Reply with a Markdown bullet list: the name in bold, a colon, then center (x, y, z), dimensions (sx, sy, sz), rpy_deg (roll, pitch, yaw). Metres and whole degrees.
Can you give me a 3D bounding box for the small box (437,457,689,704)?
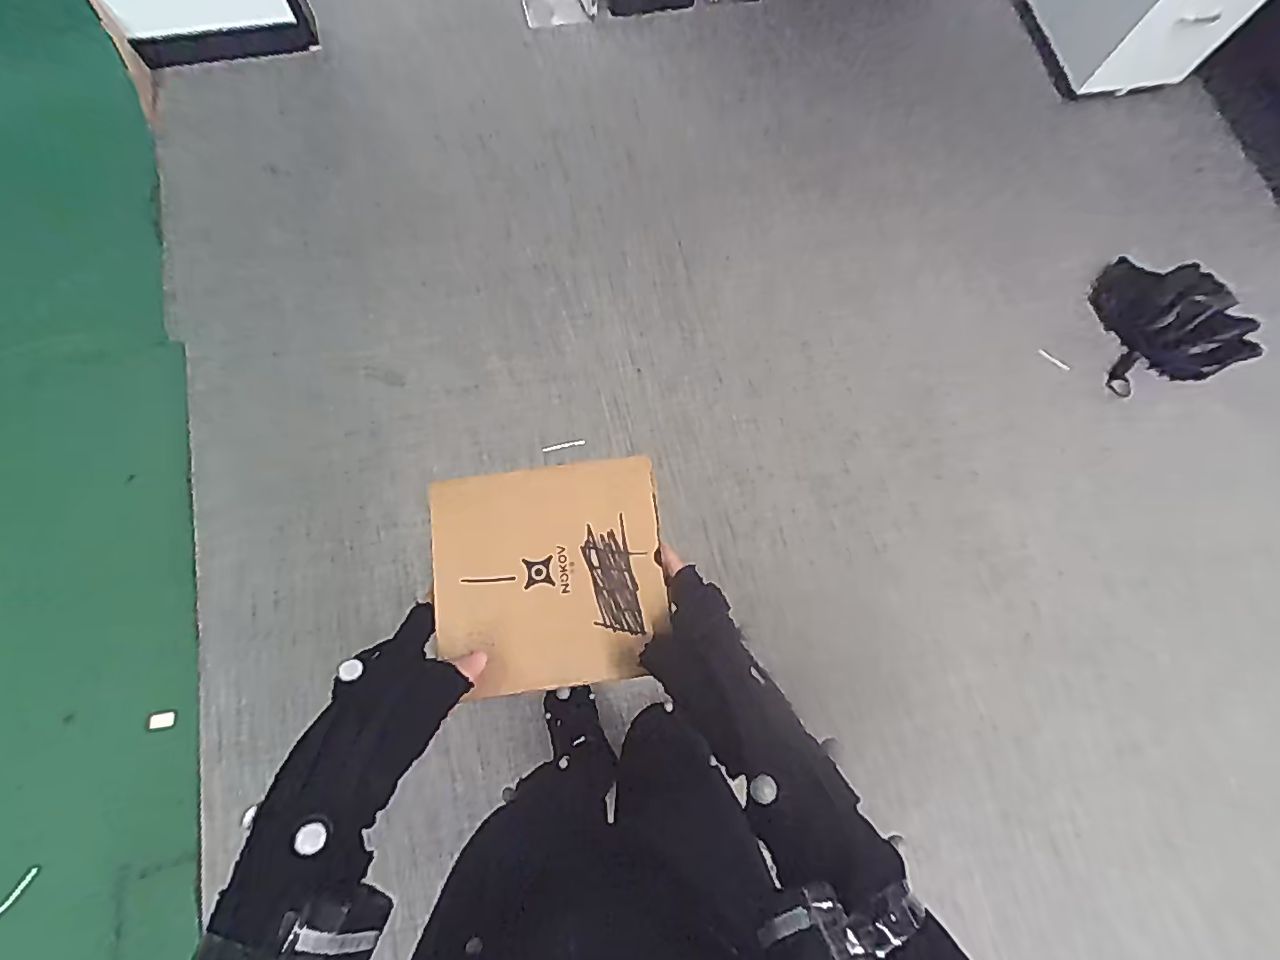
- **small box**: center (-0.065, 0.091, 0.494), dimensions (0.179, 0.176, 0.168), rpy_deg (-10, 76, -4)
